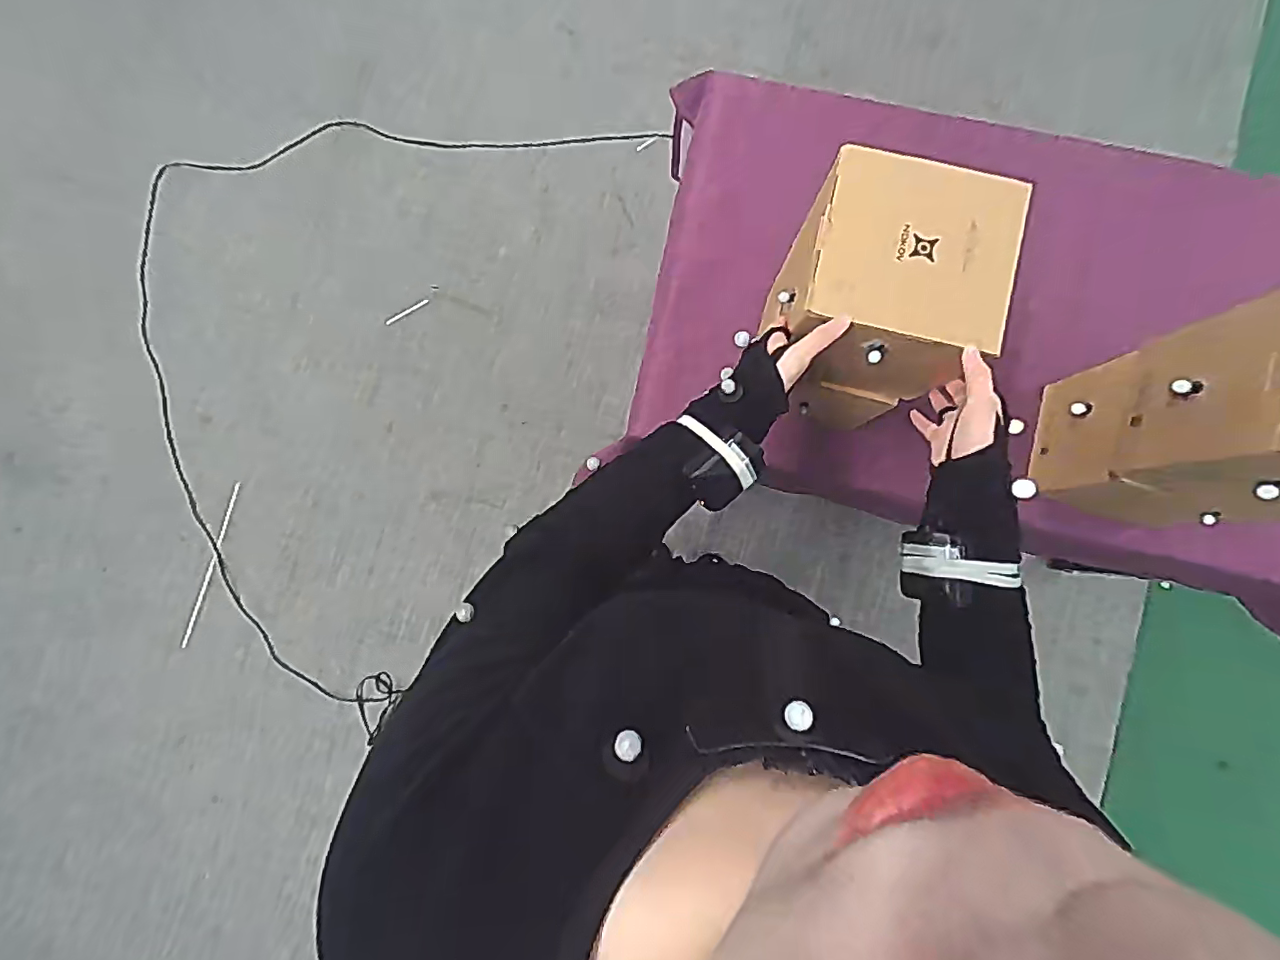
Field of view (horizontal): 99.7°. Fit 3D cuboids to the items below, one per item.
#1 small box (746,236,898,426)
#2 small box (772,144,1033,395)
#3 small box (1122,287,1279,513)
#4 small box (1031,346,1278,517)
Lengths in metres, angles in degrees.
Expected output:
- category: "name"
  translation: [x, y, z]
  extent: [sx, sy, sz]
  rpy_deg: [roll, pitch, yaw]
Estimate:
- category: "small box"
  translation: [0.248, -0.184, 0.721]
  extent: [0.168, 0.176, 0.179]
  rpy_deg: [16, 85, 3]
- category: "small box"
  translation: [0.249, -0.199, 0.558]
  extent: [0.179, 0.176, 0.168]
  rpy_deg: [14, 86, 3]
- category: "small box"
  translation: [0.642, -0.068, 0.535]
  extent: [0.179, 0.176, 0.168]
  rpy_deg: [18, 86, 4]
- category: "small box"
  translation: [0.654, -0.050, 0.698]
  extent: [0.179, 0.176, 0.168]
  rpy_deg: [14, 85, 3]
